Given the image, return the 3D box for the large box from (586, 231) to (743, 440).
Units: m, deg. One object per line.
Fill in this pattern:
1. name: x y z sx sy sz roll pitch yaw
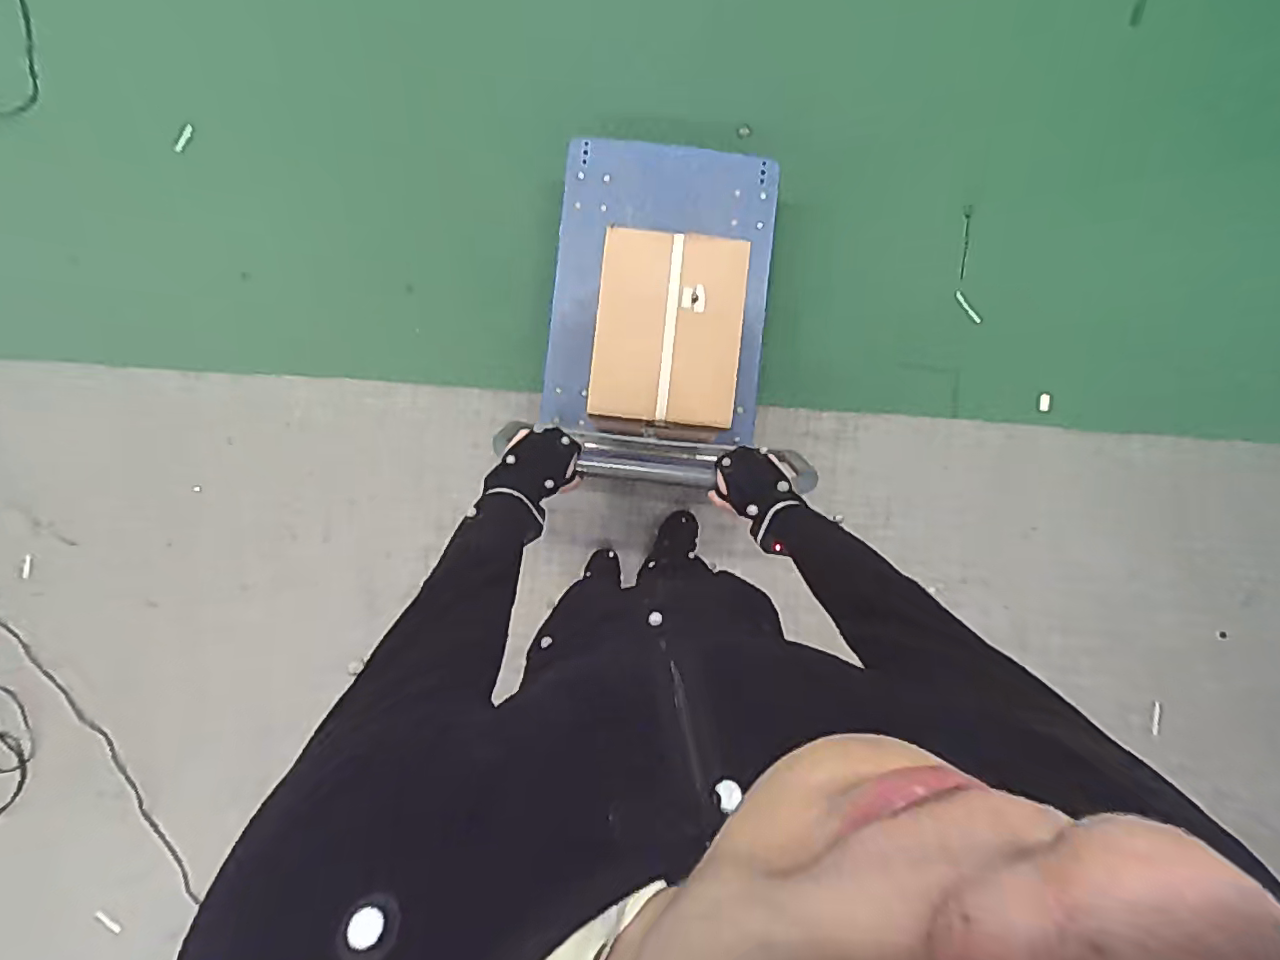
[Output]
1. large box: 0.052 -0.319 1.302 0.320 0.320 0.408 6 88 -2
